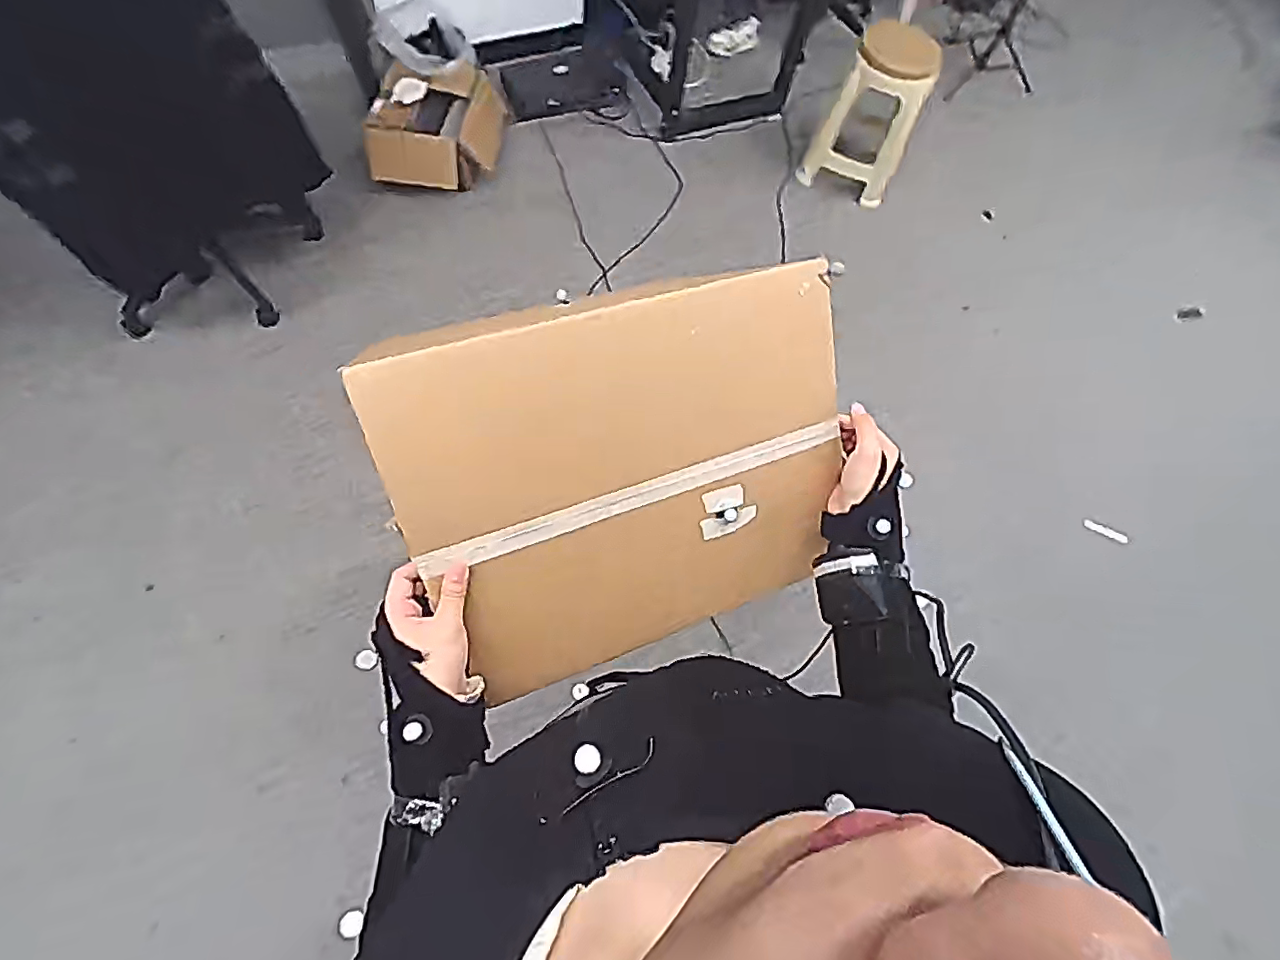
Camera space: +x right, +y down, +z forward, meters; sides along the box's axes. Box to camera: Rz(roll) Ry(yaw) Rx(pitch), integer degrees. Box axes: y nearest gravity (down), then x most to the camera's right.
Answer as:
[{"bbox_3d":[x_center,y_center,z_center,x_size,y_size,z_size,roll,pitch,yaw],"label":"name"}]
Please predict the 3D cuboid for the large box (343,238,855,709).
[{"bbox_3d":[-0.040,-0.043,0.590,0.408,0.320,0.320,-19,113,-16],"label":"large box"}]
